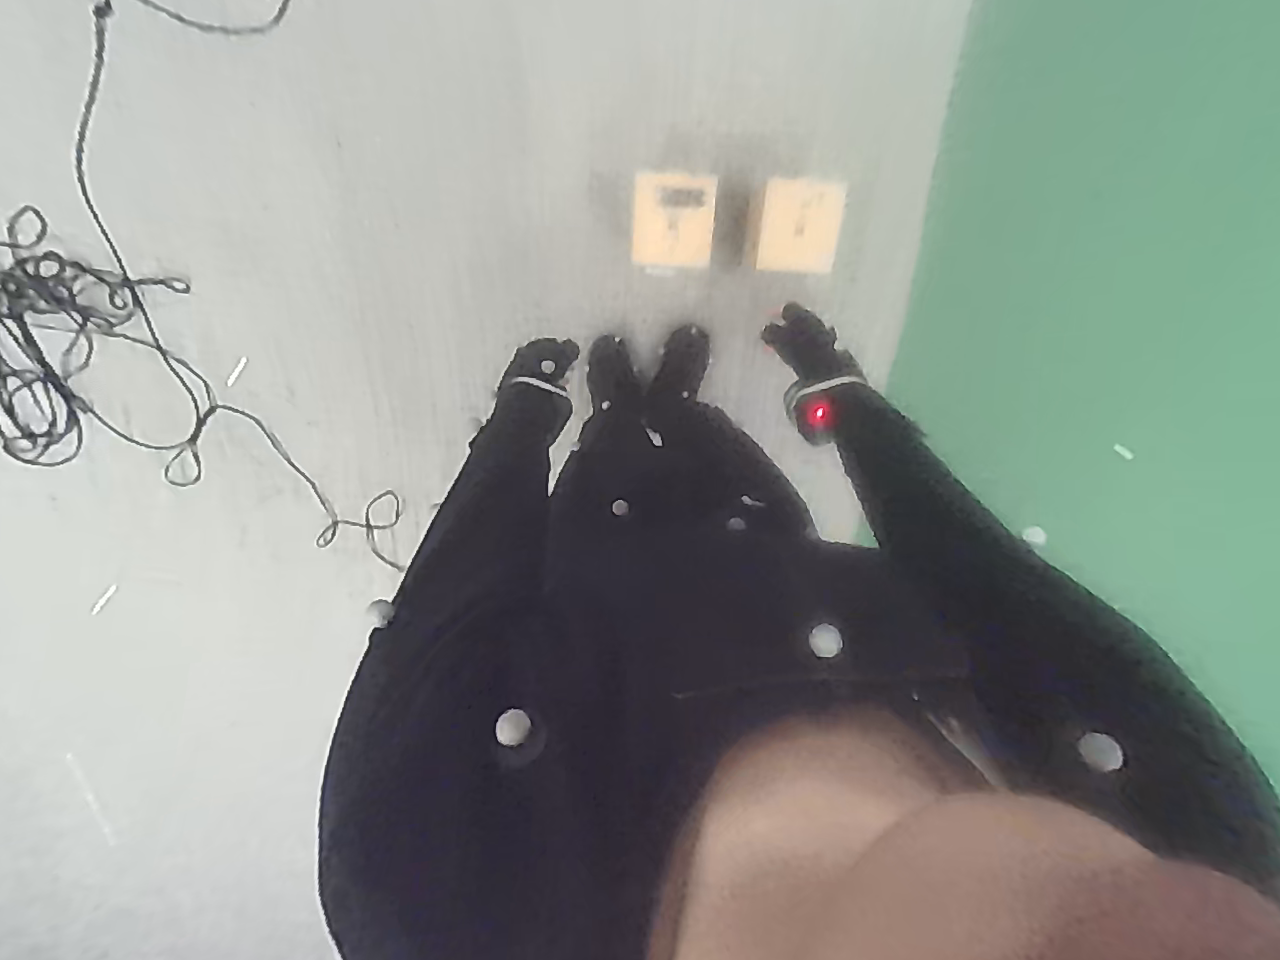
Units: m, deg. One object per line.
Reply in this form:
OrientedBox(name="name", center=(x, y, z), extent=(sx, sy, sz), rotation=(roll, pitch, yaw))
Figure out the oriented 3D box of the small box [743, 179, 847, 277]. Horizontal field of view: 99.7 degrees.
OrientedBox(name="small box", center=(0.328, -0.545, 1.185), extent=(0.168, 0.176, 0.179), rotation=(3, 111, -3))
